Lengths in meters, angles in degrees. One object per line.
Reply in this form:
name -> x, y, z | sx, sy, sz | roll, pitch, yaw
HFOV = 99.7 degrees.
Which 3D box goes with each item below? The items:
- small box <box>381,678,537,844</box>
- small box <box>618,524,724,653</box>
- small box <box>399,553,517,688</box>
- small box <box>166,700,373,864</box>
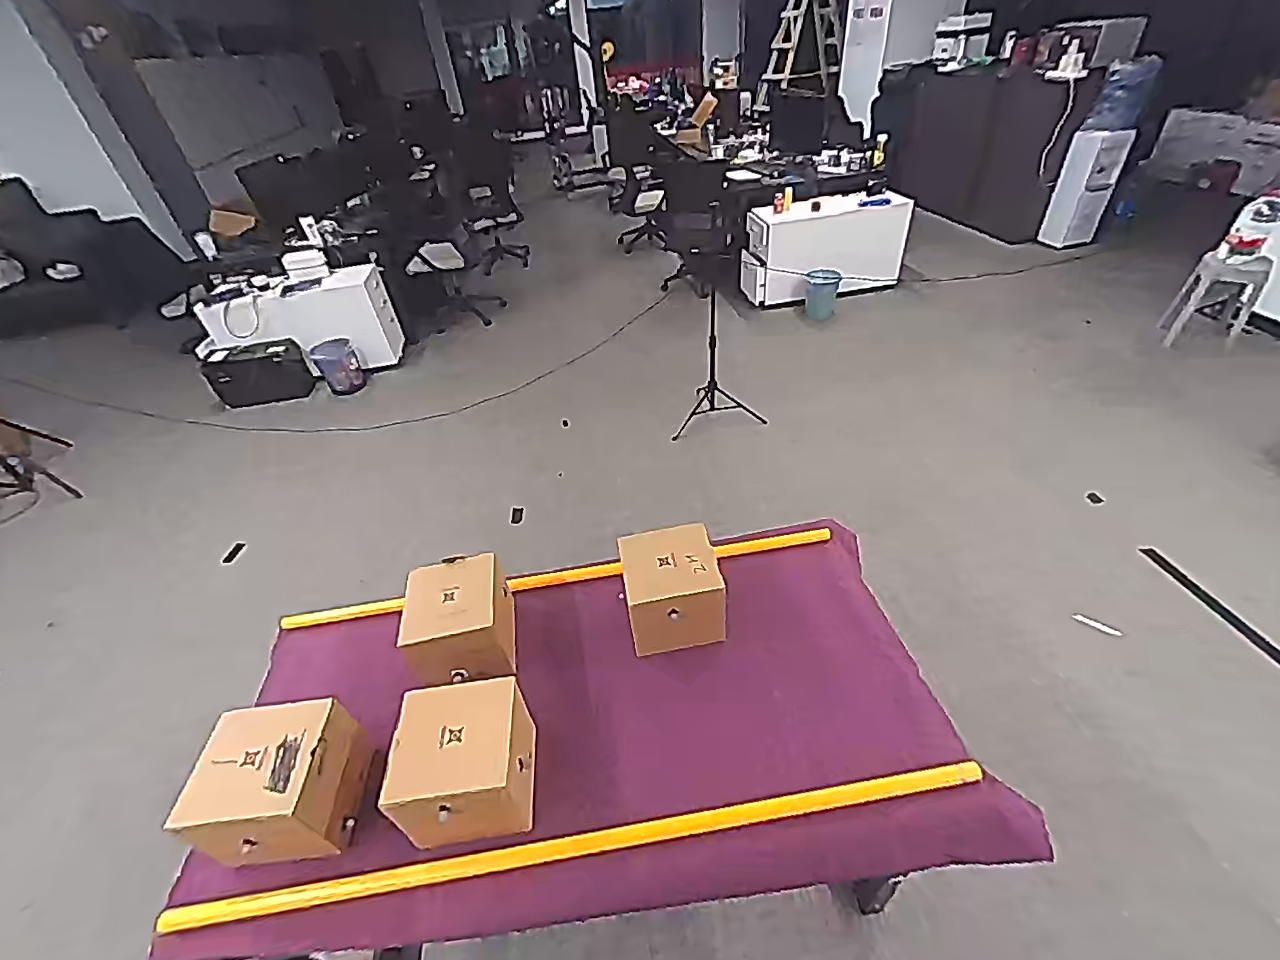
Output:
small box -> -0.261, 0.432, 0.832 | 0.179, 0.176, 0.168 | -8, 39, -1
small box -> 0.061, 0.213, 1.048 | 0.179, 0.176, 0.168 | -9, 41, -3
small box -> -0.337, 0.271, 1.035 | 0.168, 0.176, 0.179 | -11, 41, -5
small box -> -0.542, 0.463, 0.828 | 0.179, 0.176, 0.168 | -6, 40, 0
